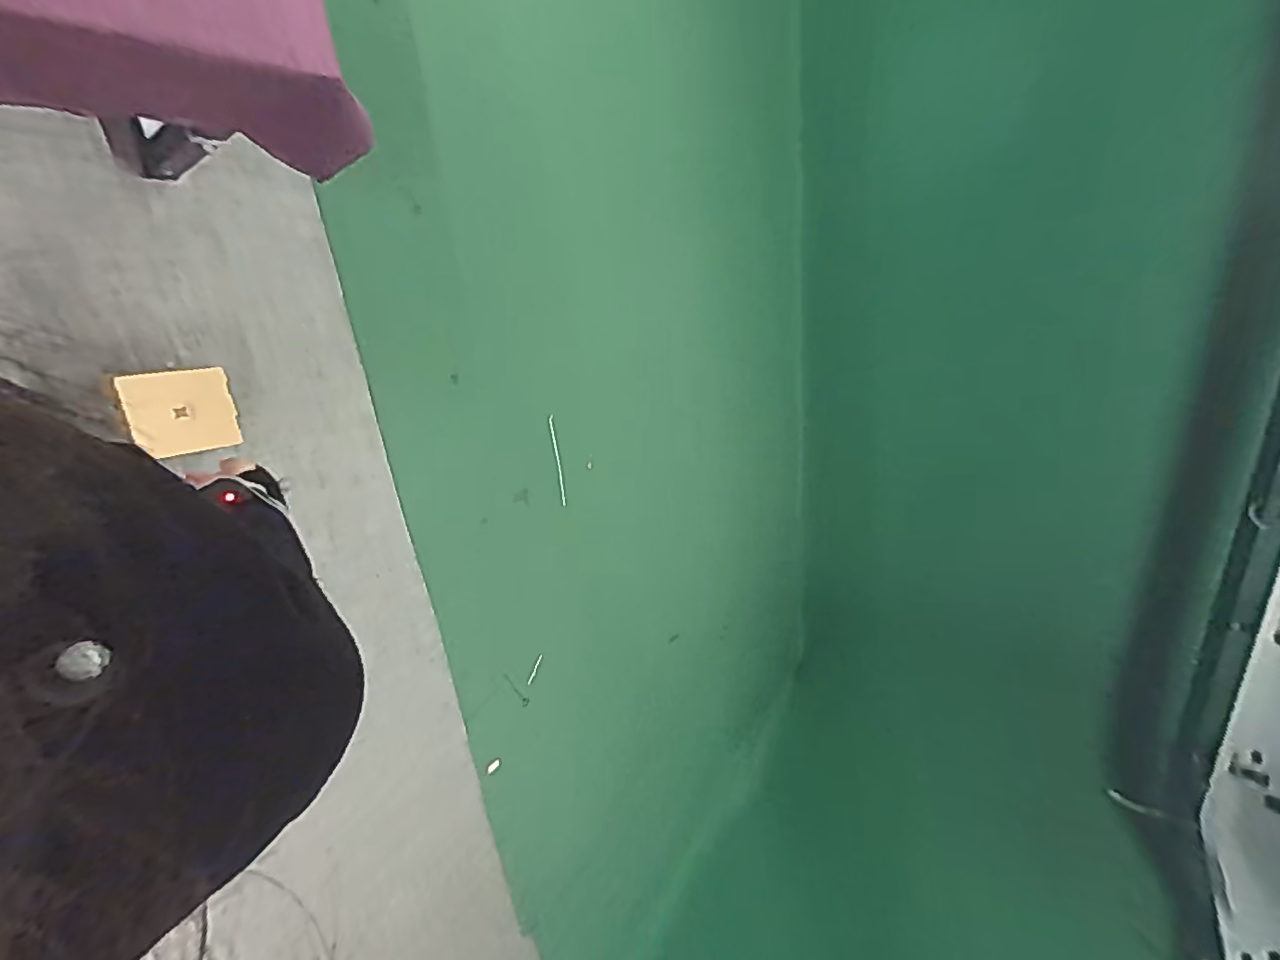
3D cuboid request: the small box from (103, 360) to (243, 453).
[{"bbox_3d":[-0.984,-0.160,1.137,0.179,0.176,0.168,-25,117,-49],"label":"small box"}]
